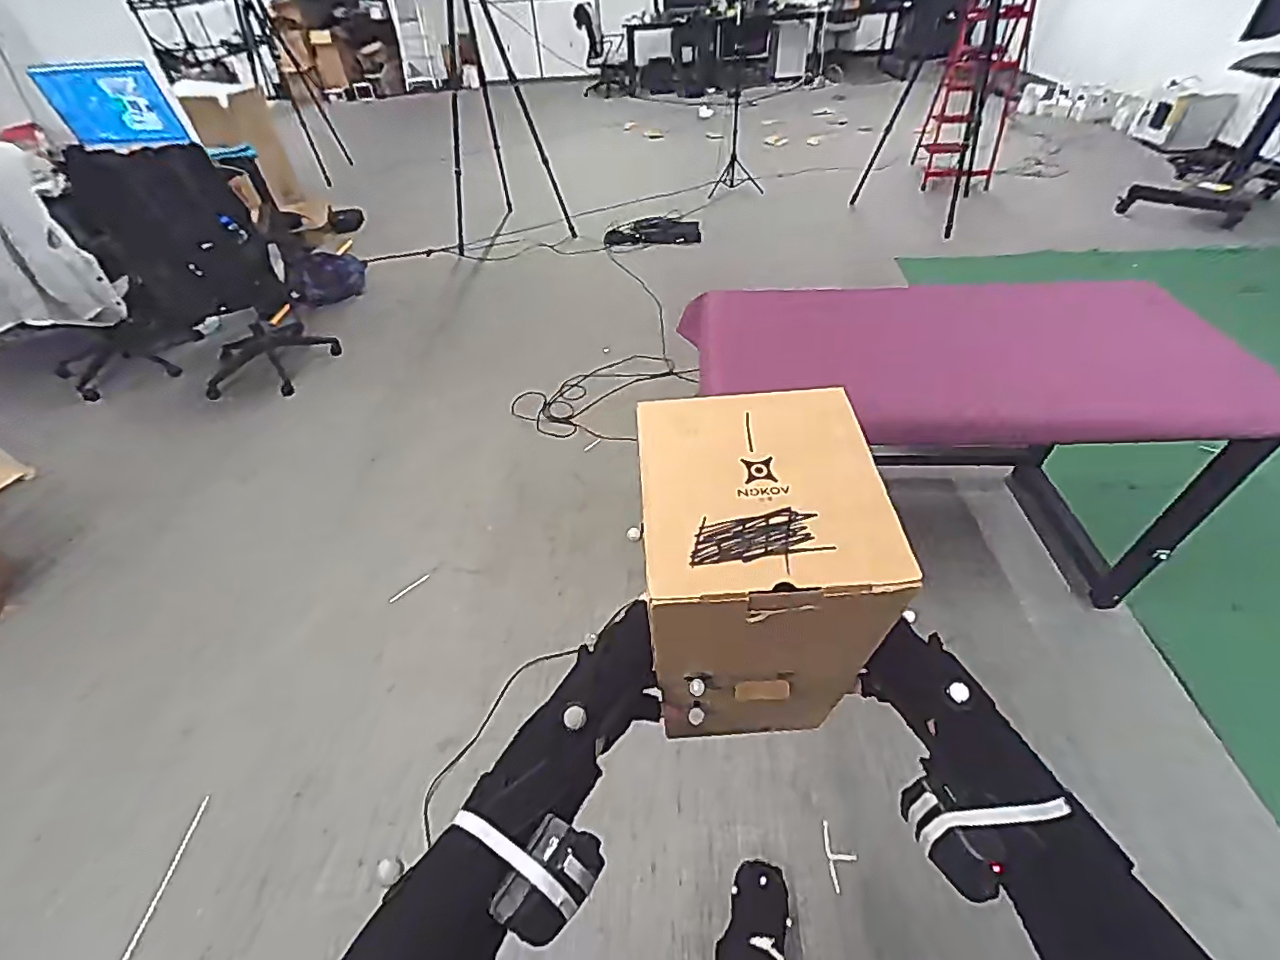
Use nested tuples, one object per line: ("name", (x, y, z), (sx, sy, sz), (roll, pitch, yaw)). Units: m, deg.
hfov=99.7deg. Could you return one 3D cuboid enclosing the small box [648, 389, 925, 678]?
("small box", (0.092, 0.049, 0.432), (0.168, 0.176, 0.179), (0, 52, 2))
